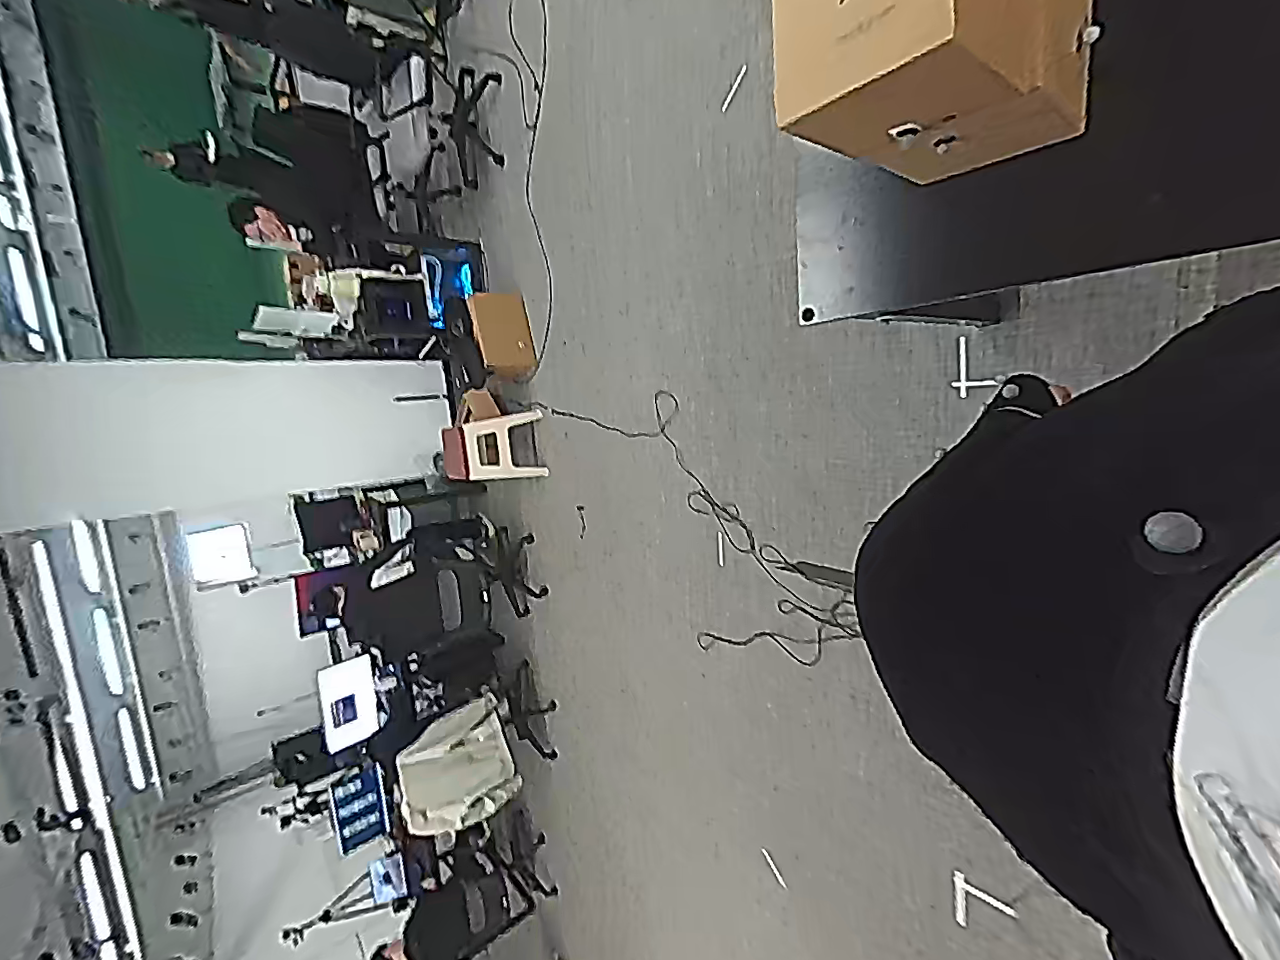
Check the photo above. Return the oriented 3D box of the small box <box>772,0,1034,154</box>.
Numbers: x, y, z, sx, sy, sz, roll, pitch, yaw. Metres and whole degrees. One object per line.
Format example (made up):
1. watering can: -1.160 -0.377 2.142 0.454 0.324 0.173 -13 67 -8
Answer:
1. small box: 0.241 -0.437 0.500 0.168 0.176 0.179 6 105 52

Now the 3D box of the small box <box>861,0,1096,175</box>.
1. small box: 0.369 -0.463 0.597 0.179 0.176 0.168 7 104 50
